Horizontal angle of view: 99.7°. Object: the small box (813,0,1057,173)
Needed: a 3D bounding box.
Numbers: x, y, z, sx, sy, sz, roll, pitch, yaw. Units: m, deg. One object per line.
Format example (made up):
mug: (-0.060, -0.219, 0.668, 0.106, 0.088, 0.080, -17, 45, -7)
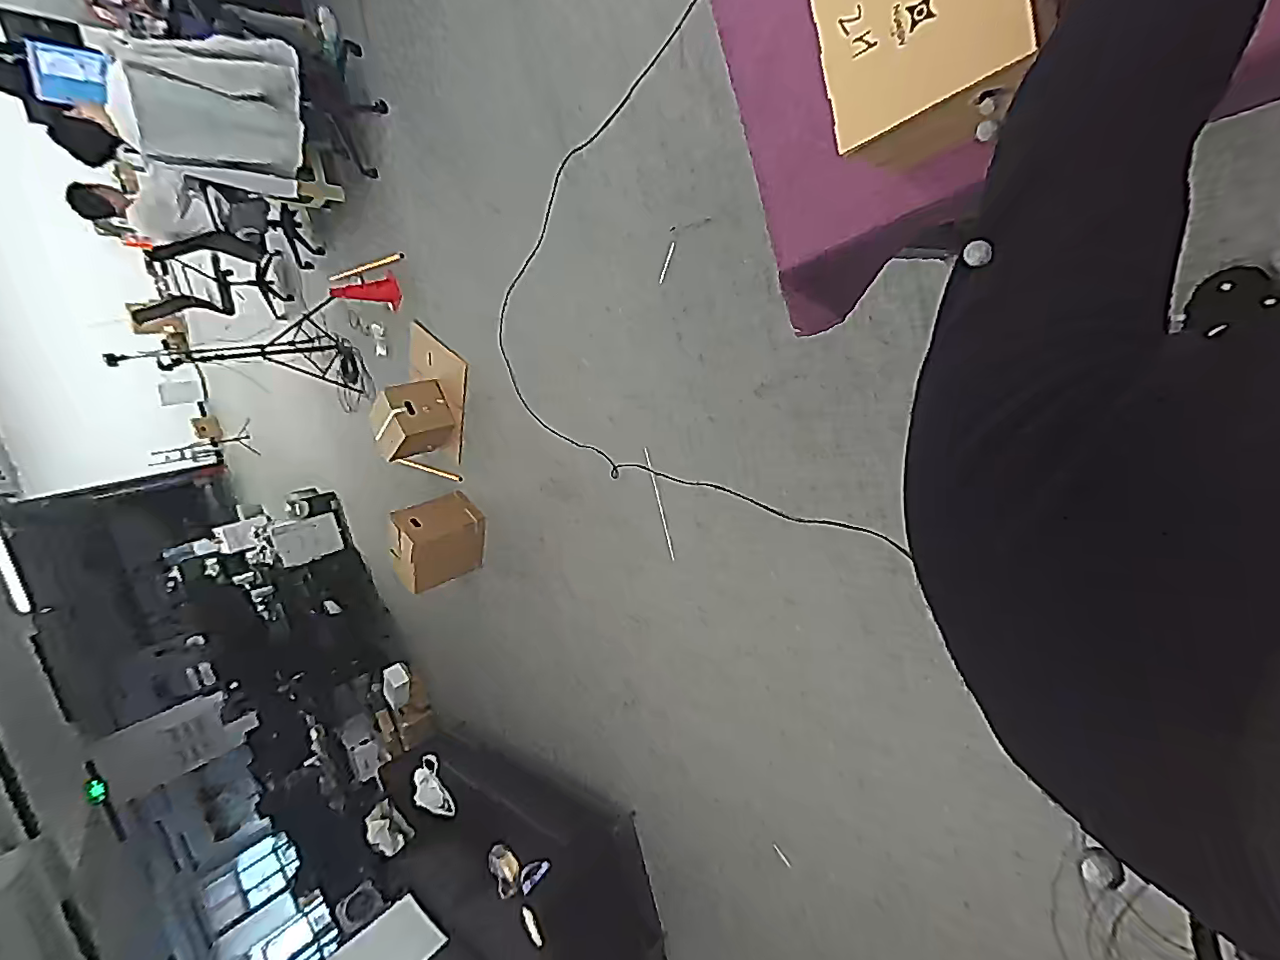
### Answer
small box: (0.312, -0.450, 0.563, 0.179, 0.176, 0.168, -6, 100, 47)
